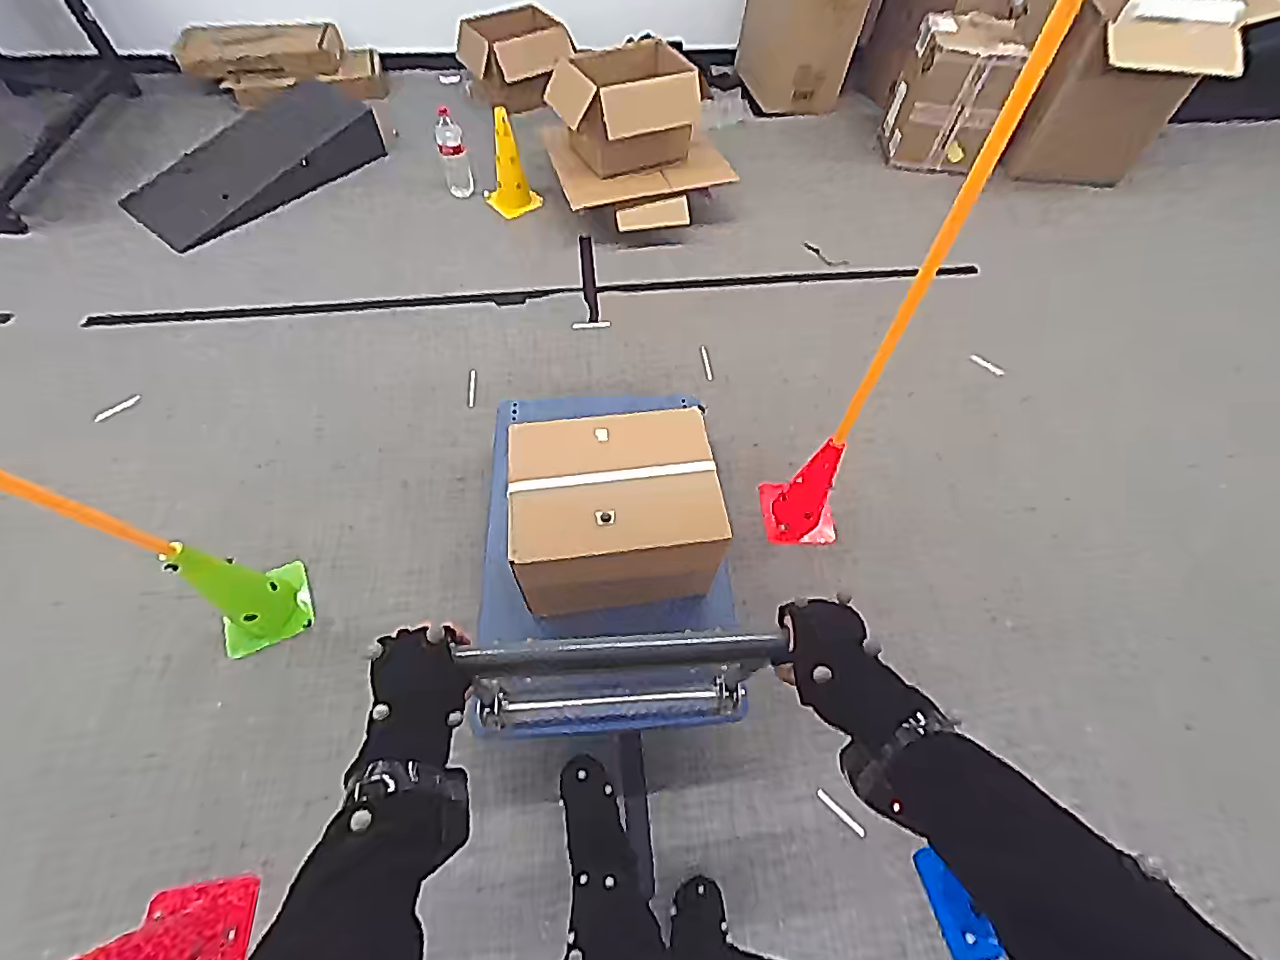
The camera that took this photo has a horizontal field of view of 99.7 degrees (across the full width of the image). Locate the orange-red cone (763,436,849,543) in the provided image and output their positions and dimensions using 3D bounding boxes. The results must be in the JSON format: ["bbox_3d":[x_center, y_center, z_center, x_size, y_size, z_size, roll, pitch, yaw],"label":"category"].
[{"bbox_3d":[0.469,0.001,1.422,0.199,0.360,0.198,1,59,-3],"label":"orange-red cone"}]

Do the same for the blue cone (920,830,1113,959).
[{"bbox_3d":[0.701,0.760,0.975,0.193,0.380,0.192,-8,58,-8],"label":"blue cone"}]
